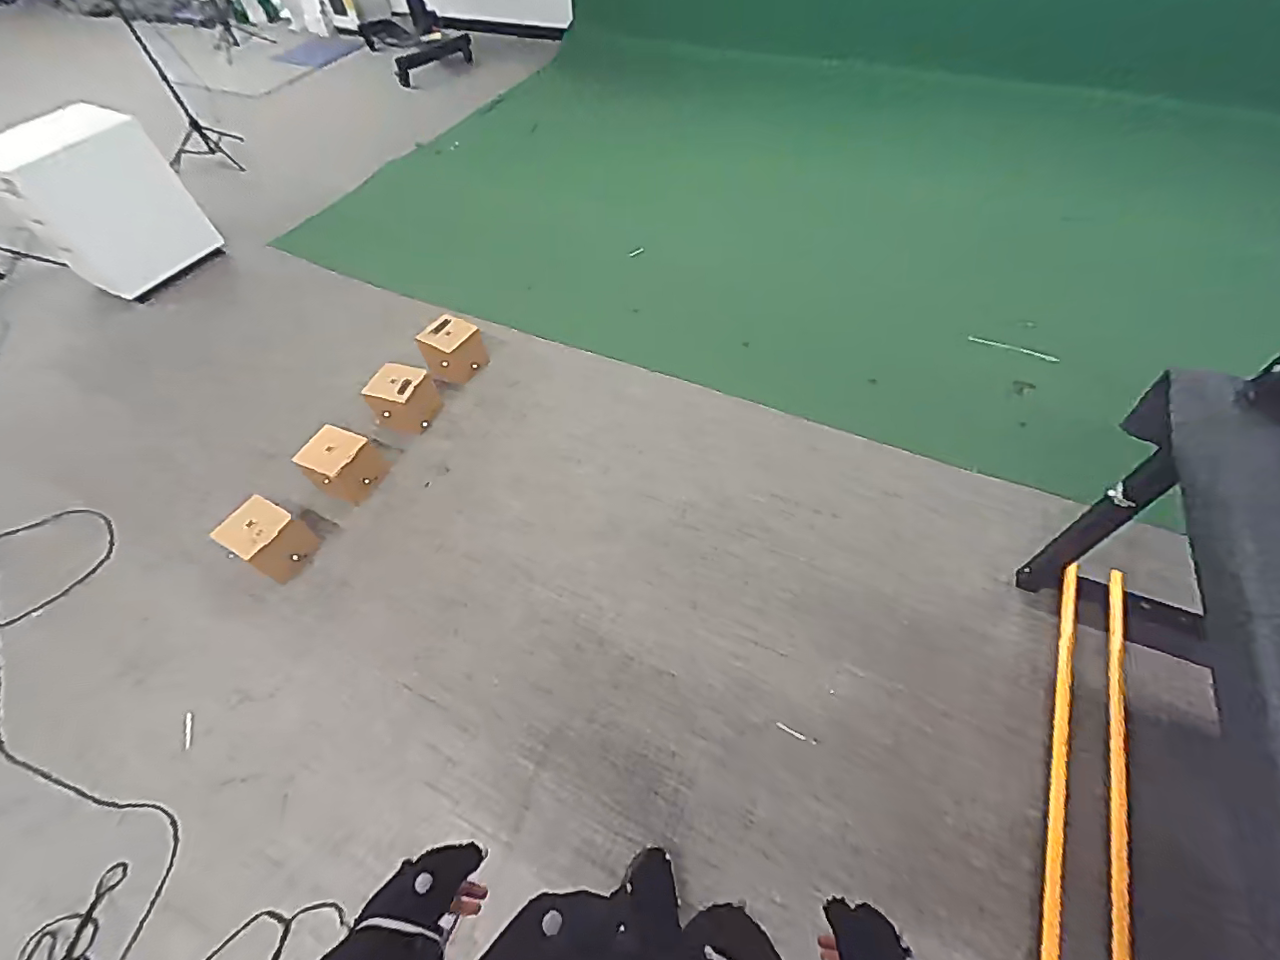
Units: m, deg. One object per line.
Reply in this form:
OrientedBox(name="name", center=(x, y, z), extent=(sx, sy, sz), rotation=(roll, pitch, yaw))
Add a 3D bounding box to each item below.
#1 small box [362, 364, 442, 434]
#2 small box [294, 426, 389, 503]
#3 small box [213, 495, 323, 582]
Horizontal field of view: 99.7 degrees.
OrientedBox(name="small box", center=(-0.842, -0.287, 1.937), extent=(0.179, 0.176, 0.168), rotation=(13, 56, 13))
OrientedBox(name="small box", center=(-0.971, -0.046, 1.774), extent=(0.179, 0.176, 0.168), rotation=(18, 58, 14))
OrientedBox(name="small box", center=(-1.105, 0.180, 1.620), extent=(0.179, 0.176, 0.168), rotation=(23, 60, 19))
